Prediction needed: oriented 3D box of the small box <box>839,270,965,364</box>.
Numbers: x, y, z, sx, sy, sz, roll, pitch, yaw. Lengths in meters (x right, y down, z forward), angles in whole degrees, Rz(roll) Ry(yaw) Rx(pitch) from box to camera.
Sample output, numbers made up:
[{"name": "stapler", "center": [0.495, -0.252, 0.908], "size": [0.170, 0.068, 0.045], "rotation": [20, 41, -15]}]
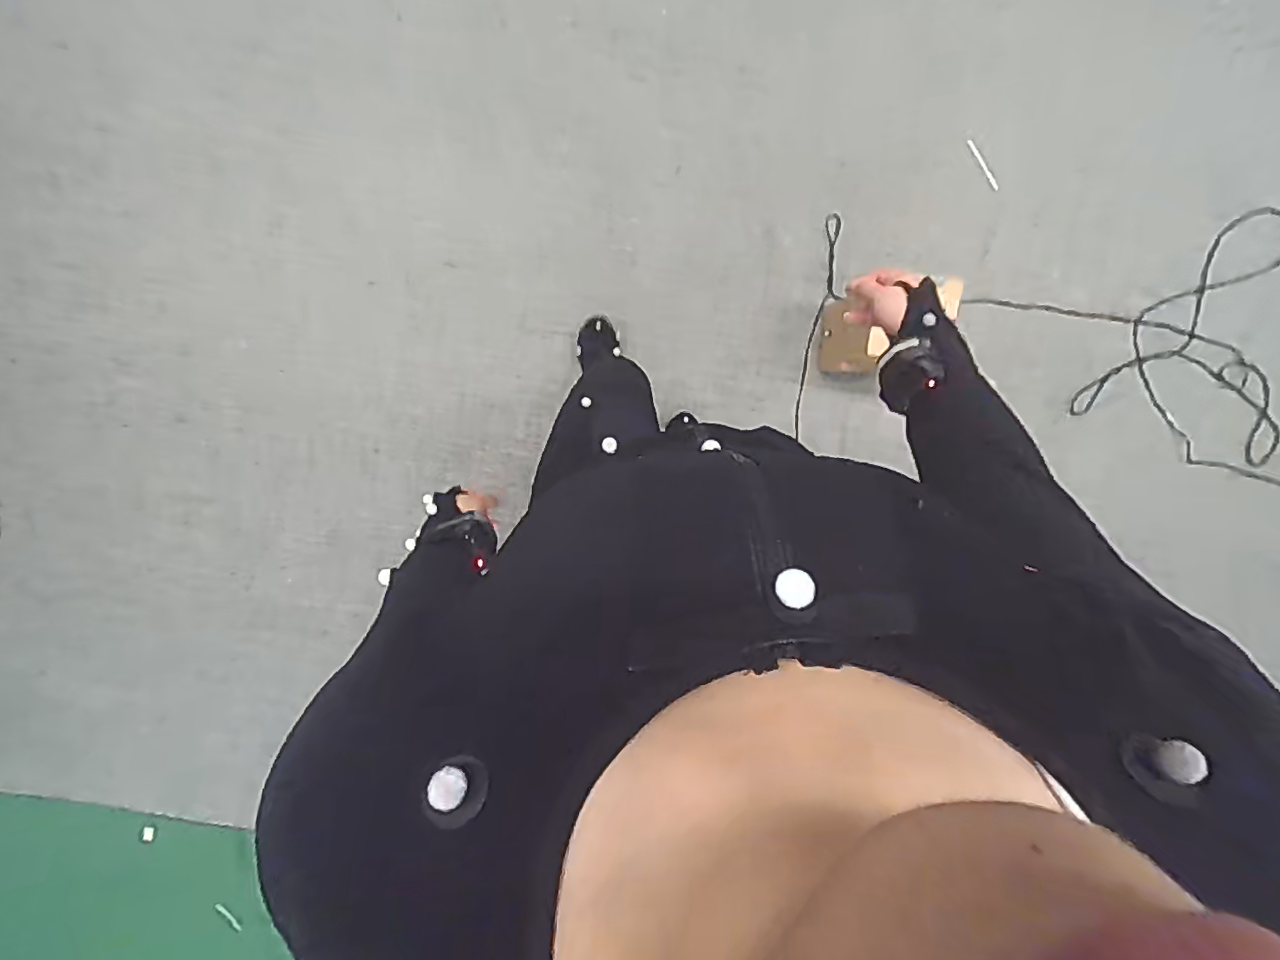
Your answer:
[{"name": "small box", "center": [0.553, -0.343, 1.165], "size": [0.179, 0.176, 0.168], "rotation": [5, 99, 0]}]

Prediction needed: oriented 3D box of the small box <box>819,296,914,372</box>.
[{"name": "small box", "center": [0.556, -0.353, 1.329], "size": [0.179, 0.176, 0.168], "rotation": [2, 100, -1]}]
